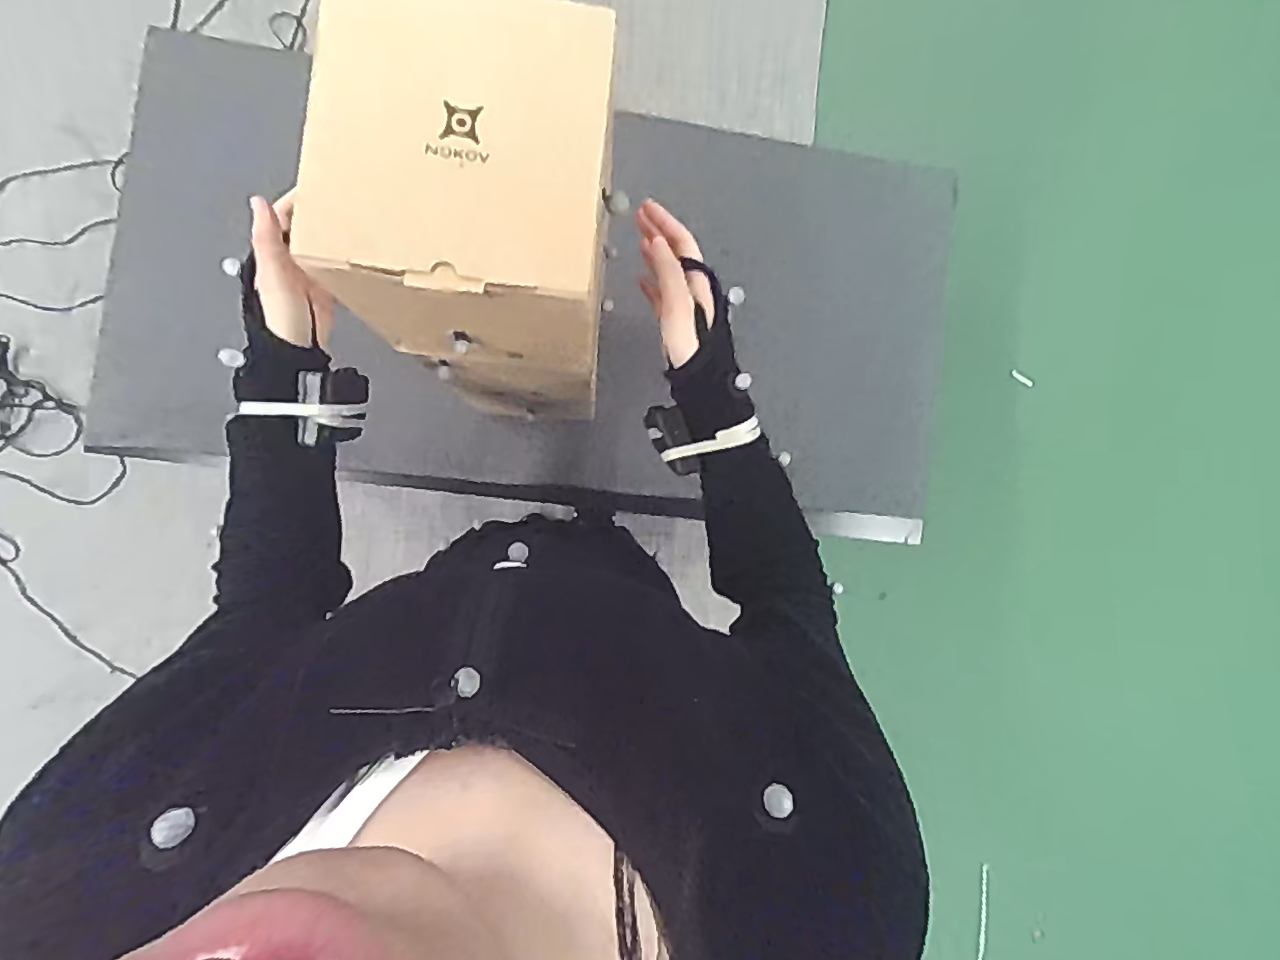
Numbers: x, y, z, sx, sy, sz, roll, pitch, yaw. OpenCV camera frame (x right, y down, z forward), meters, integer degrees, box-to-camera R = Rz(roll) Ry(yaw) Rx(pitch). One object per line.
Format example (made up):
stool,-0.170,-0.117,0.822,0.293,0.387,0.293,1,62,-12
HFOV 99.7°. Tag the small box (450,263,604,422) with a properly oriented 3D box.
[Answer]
small box,-0.136,-0.180,0.700,0.168,0.176,0.179,3,87,-5

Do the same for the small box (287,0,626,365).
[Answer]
small box,-0.105,-0.194,0.375,0.168,0.176,0.179,5,86,-6
